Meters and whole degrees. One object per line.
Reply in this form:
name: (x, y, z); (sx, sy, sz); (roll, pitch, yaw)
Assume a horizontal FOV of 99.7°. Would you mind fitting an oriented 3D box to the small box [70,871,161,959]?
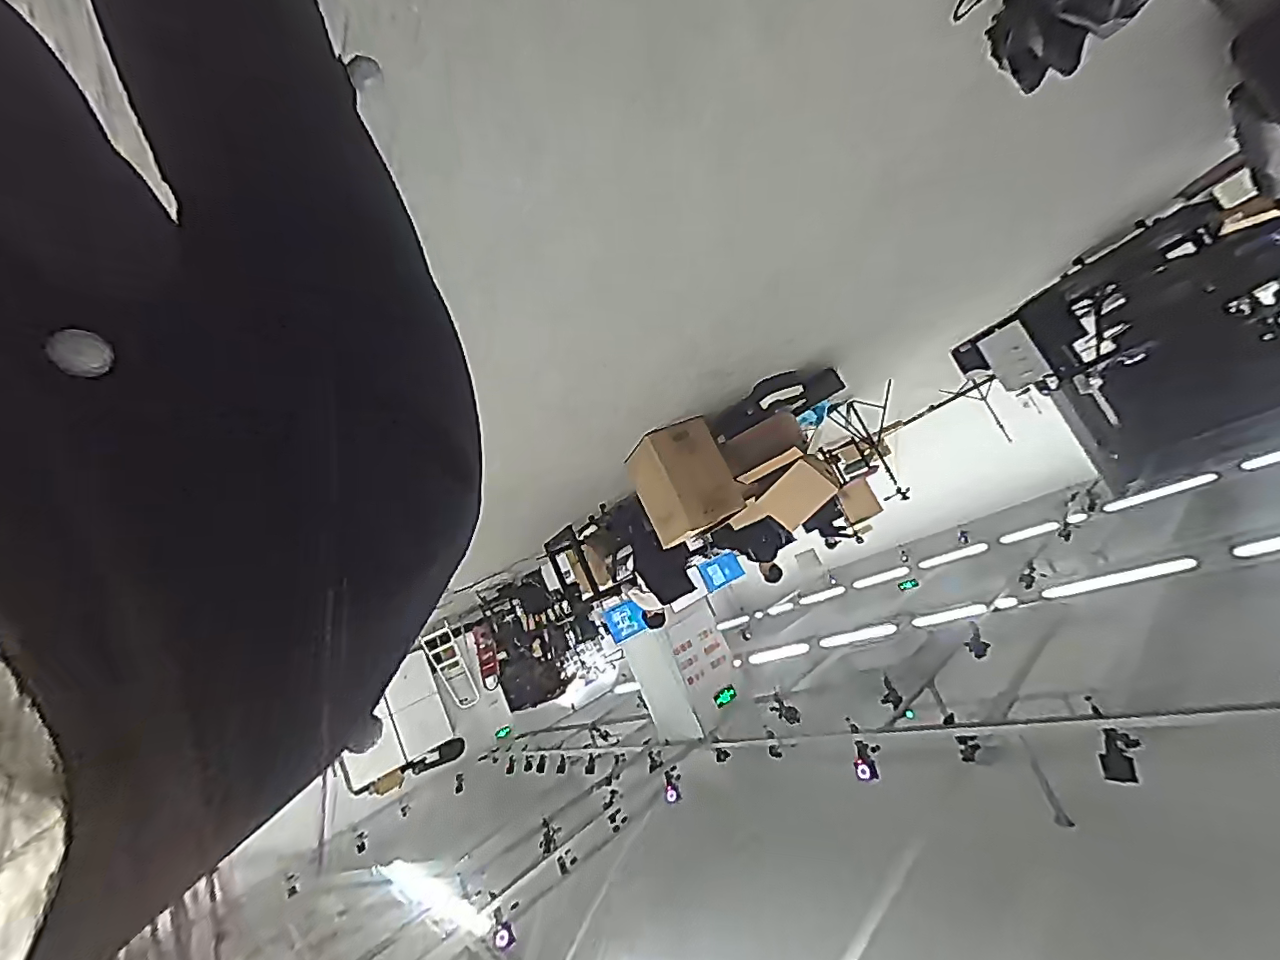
small box: (-1.624, 1.362, 1.676); (0.179, 0.176, 0.168); (-16, 167, -41)
